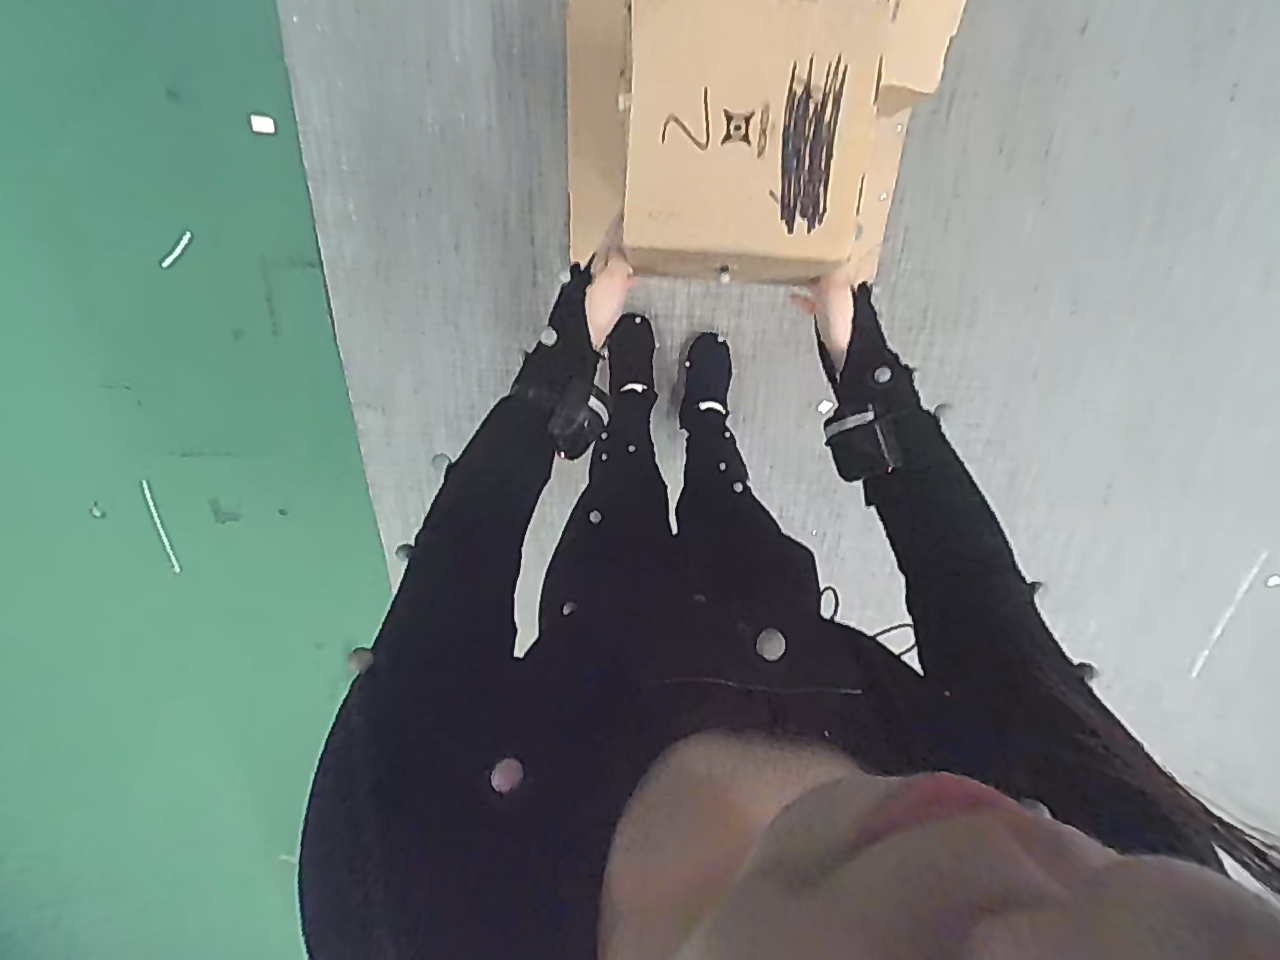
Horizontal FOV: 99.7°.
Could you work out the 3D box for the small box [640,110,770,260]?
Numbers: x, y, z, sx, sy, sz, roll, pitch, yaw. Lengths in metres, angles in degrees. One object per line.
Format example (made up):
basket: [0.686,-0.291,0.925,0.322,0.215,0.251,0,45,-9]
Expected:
small box: [0.087,-0.439,0.820,0.168,0.176,0.179,4,117,0]

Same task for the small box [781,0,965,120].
small box: [0.307,-0.605,0.732,0.179,0.176,0.168,7,115,0]
